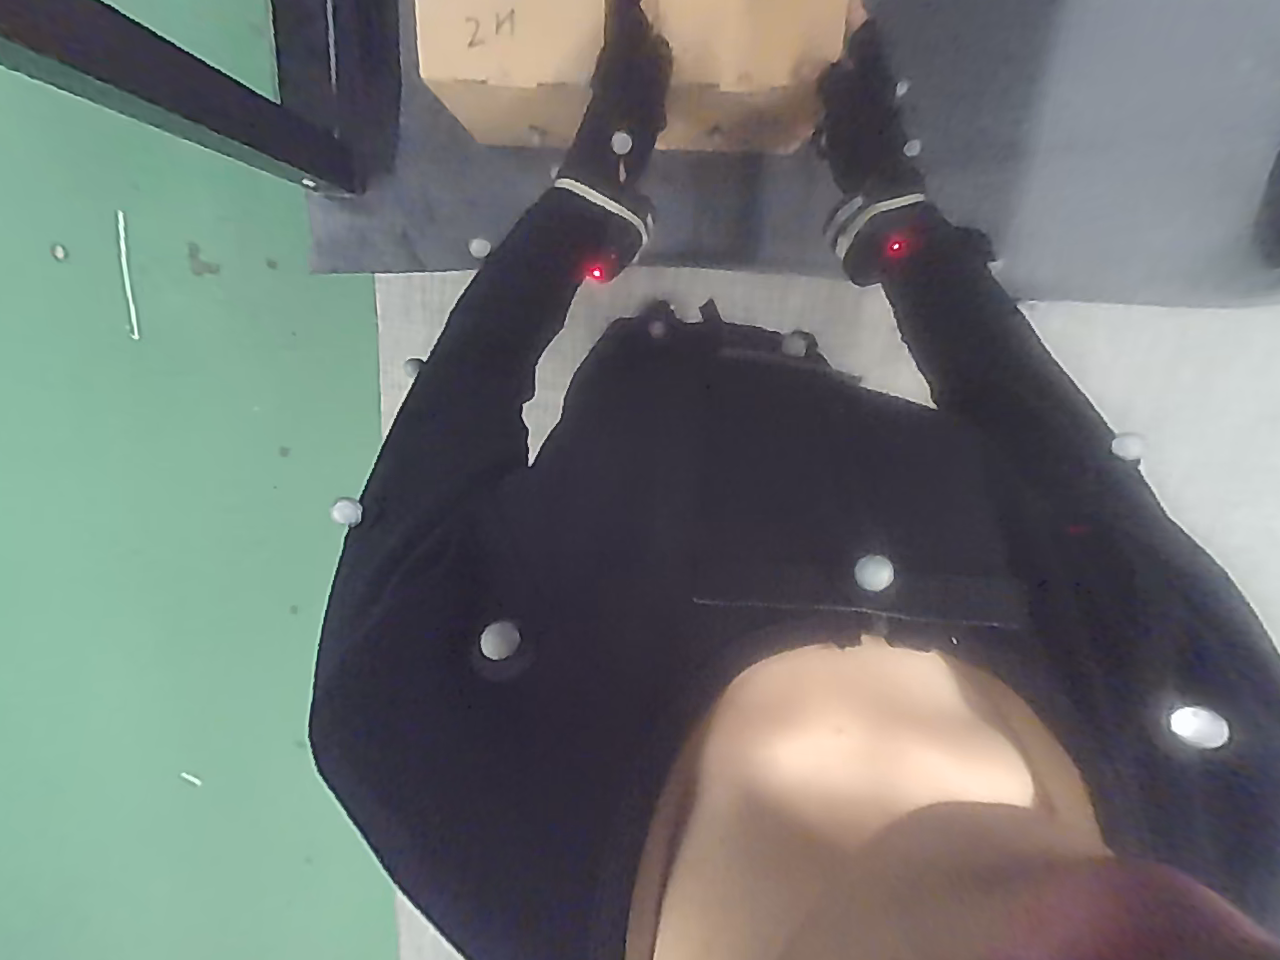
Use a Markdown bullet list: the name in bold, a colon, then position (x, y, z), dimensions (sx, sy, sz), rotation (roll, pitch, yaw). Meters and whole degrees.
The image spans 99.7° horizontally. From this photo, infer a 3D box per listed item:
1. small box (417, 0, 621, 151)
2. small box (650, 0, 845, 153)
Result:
- **small box**: position (-0.108, -0.457, 0.538), dimensions (0.168, 0.176, 0.179), rotation (3, 104, 1)
- **small box**: position (0.096, -0.450, 0.531), dimensions (0.168, 0.176, 0.179), rotation (3, 105, 1)
